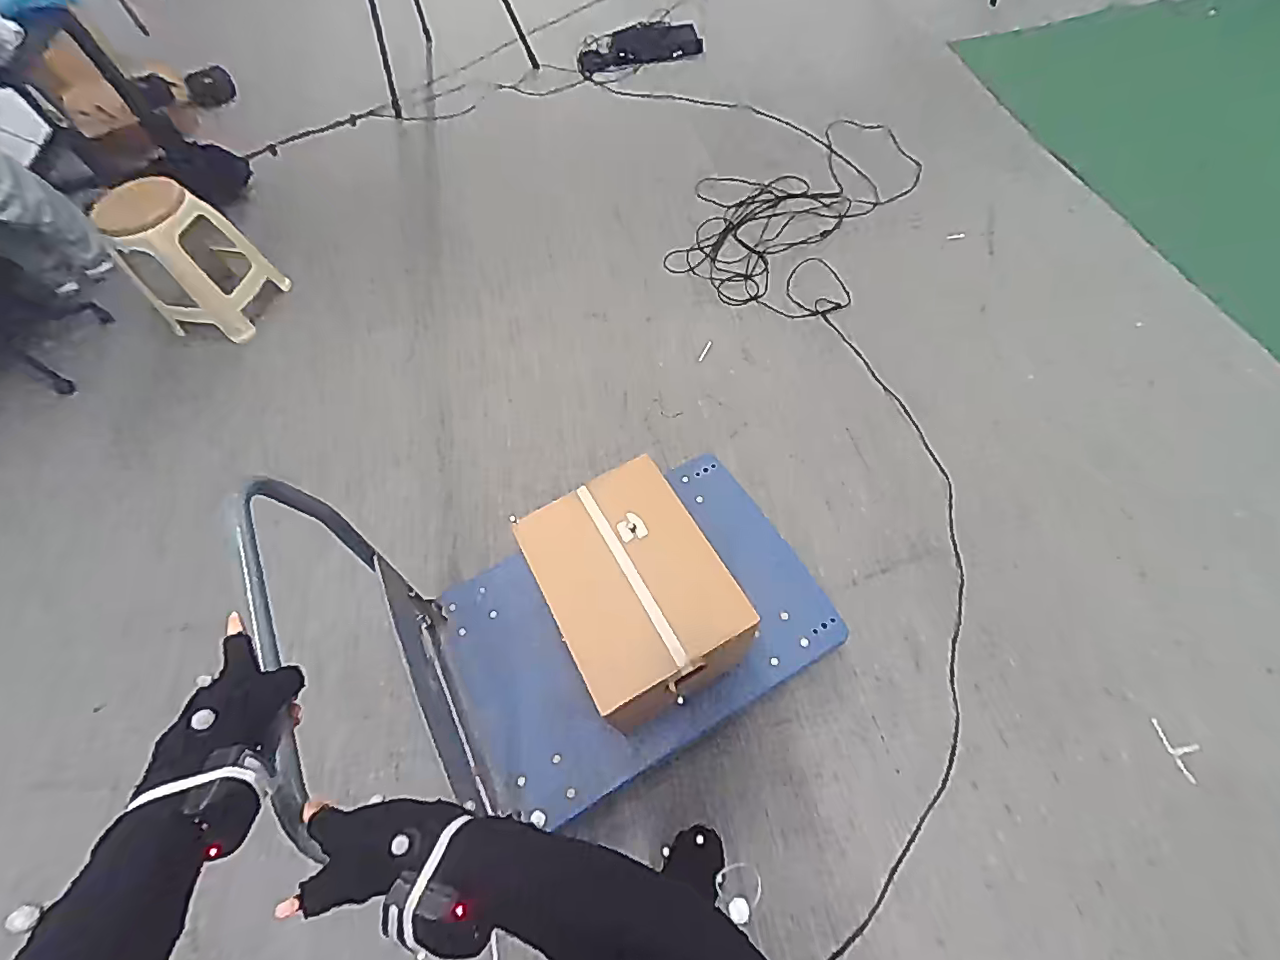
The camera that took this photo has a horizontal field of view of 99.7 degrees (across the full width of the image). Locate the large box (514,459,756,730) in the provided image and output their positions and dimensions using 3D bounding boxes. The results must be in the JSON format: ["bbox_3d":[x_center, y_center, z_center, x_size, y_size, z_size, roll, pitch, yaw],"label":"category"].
[{"bbox_3d":[-0.007,0.242,1.129,0.320,0.320,0.408,-27,60,-11],"label":"large box"}]
